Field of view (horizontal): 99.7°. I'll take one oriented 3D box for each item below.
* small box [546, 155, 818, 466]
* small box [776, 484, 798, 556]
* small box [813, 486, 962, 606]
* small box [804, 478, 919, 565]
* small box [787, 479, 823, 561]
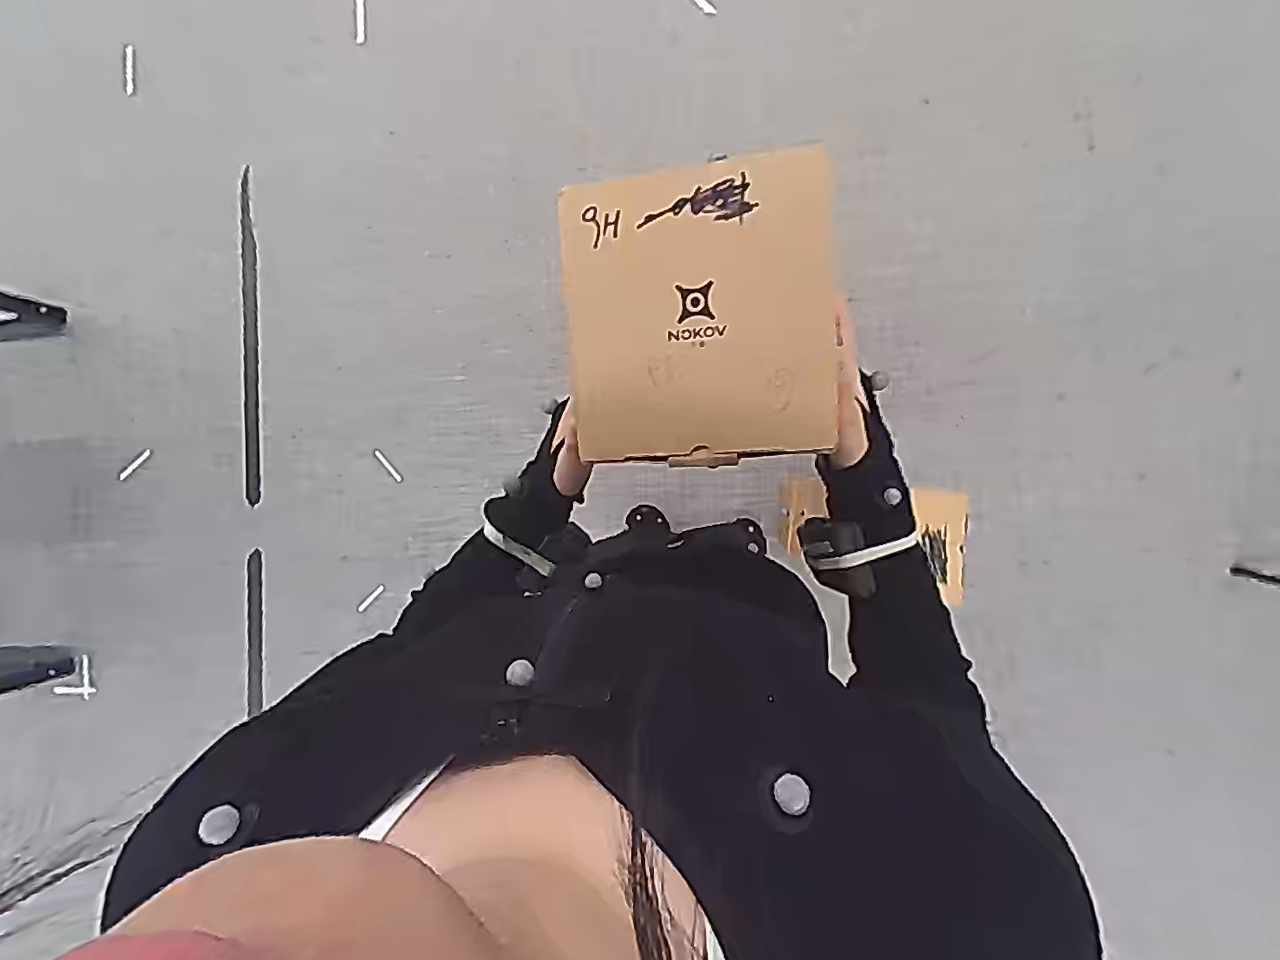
[{"bbox_3d":[0.041,-0.111,0.417,0.168,0.176,0.179,-4,97,11],"label":"small box"},{"bbox_3d":[0.445,0.103,1.378,0.168,0.176,0.179,5,89,7],"label":"small box"},{"bbox_3d":[0.395,0.100,0.889,0.179,0.176,0.168,5,88,8],"label":"small box"},{"bbox_3d":[0.421,0.093,1.053,0.168,0.176,0.179,5,89,8],"label":"small box"},{"bbox_3d":[0.433,0.098,1.214,0.168,0.176,0.179,8,89,8],"label":"small box"}]
